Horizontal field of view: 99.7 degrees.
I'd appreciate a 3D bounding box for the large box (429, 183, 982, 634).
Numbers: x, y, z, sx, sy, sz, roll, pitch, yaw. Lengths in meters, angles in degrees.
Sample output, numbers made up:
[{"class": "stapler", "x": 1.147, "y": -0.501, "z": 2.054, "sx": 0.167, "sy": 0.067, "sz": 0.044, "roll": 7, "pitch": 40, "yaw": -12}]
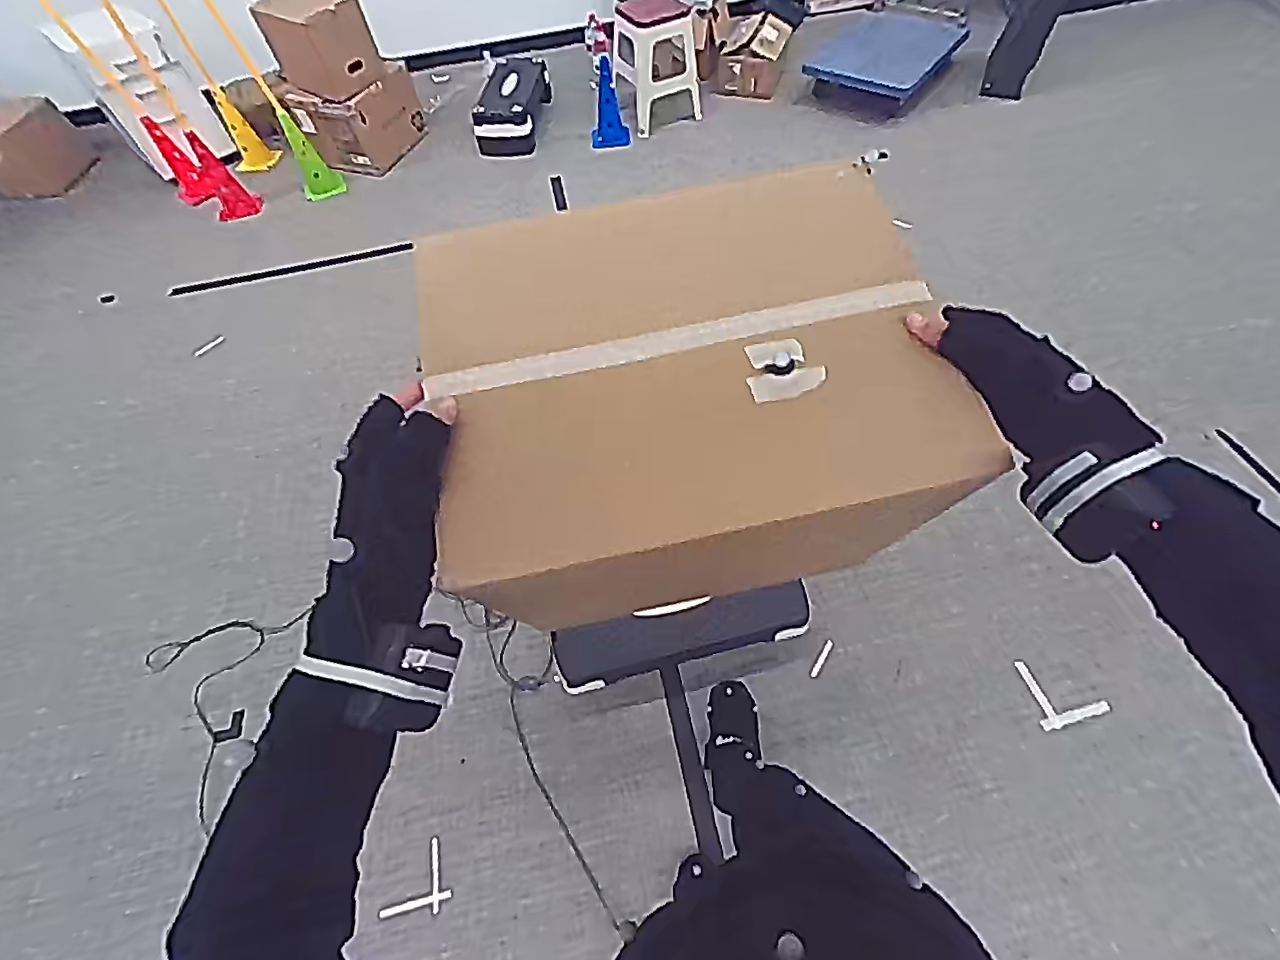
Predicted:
[{"class": "large box", "x": 0.036, "y": -0.046, "z": 0.584, "sx": 0.408, "sy": 0.320, "sz": 0.320, "roll": -12, "pitch": 69, "yaw": -2}]
